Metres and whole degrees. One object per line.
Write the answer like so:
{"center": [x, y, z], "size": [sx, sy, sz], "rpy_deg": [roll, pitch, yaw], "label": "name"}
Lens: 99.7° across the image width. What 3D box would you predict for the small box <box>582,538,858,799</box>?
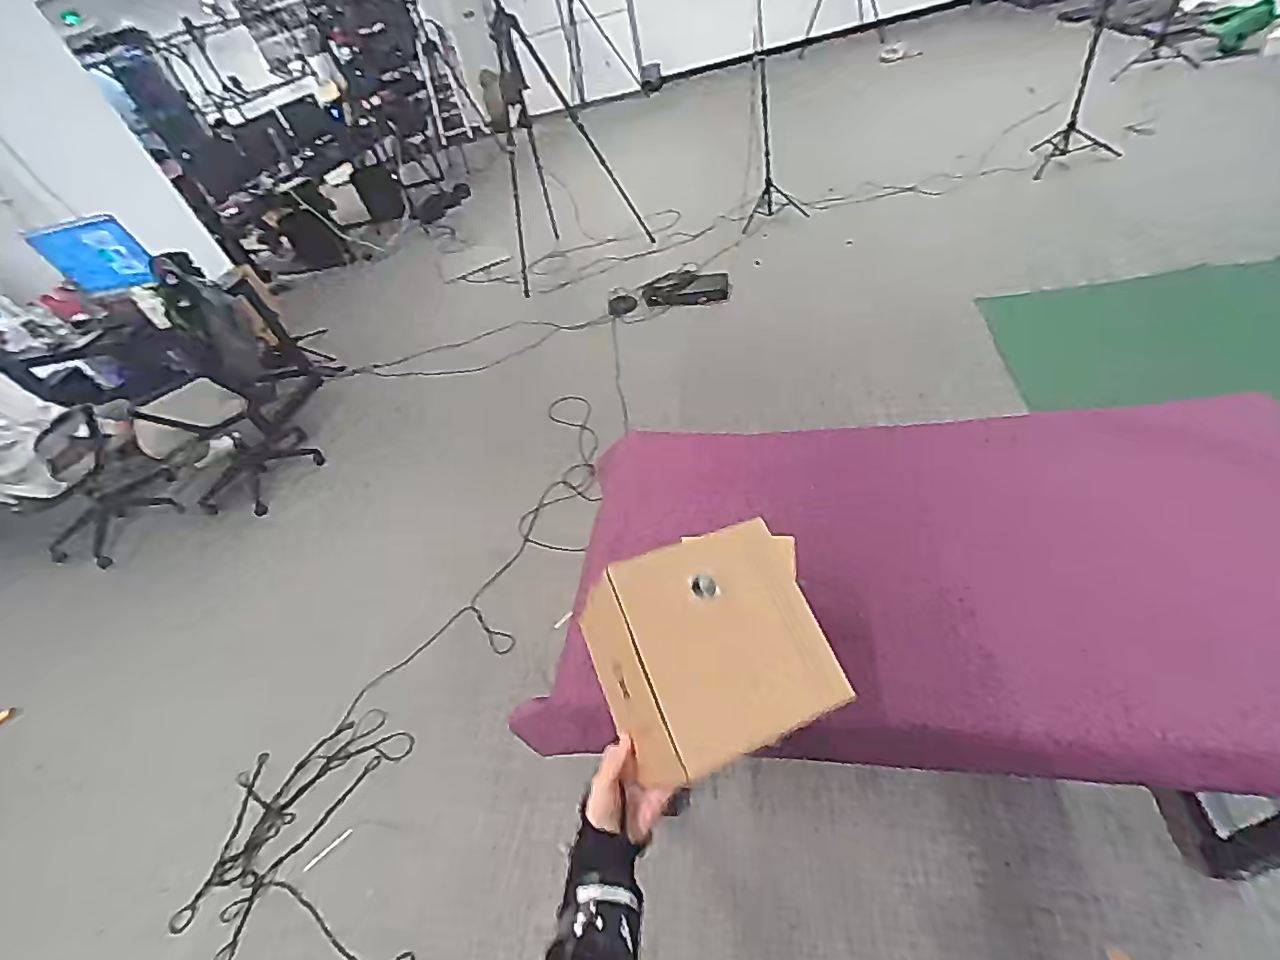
{"center": [0.061, 0.169, 0.510], "size": [0.176, 0.168, 0.179], "rpy_deg": [-16, 67, -21], "label": "small box"}
